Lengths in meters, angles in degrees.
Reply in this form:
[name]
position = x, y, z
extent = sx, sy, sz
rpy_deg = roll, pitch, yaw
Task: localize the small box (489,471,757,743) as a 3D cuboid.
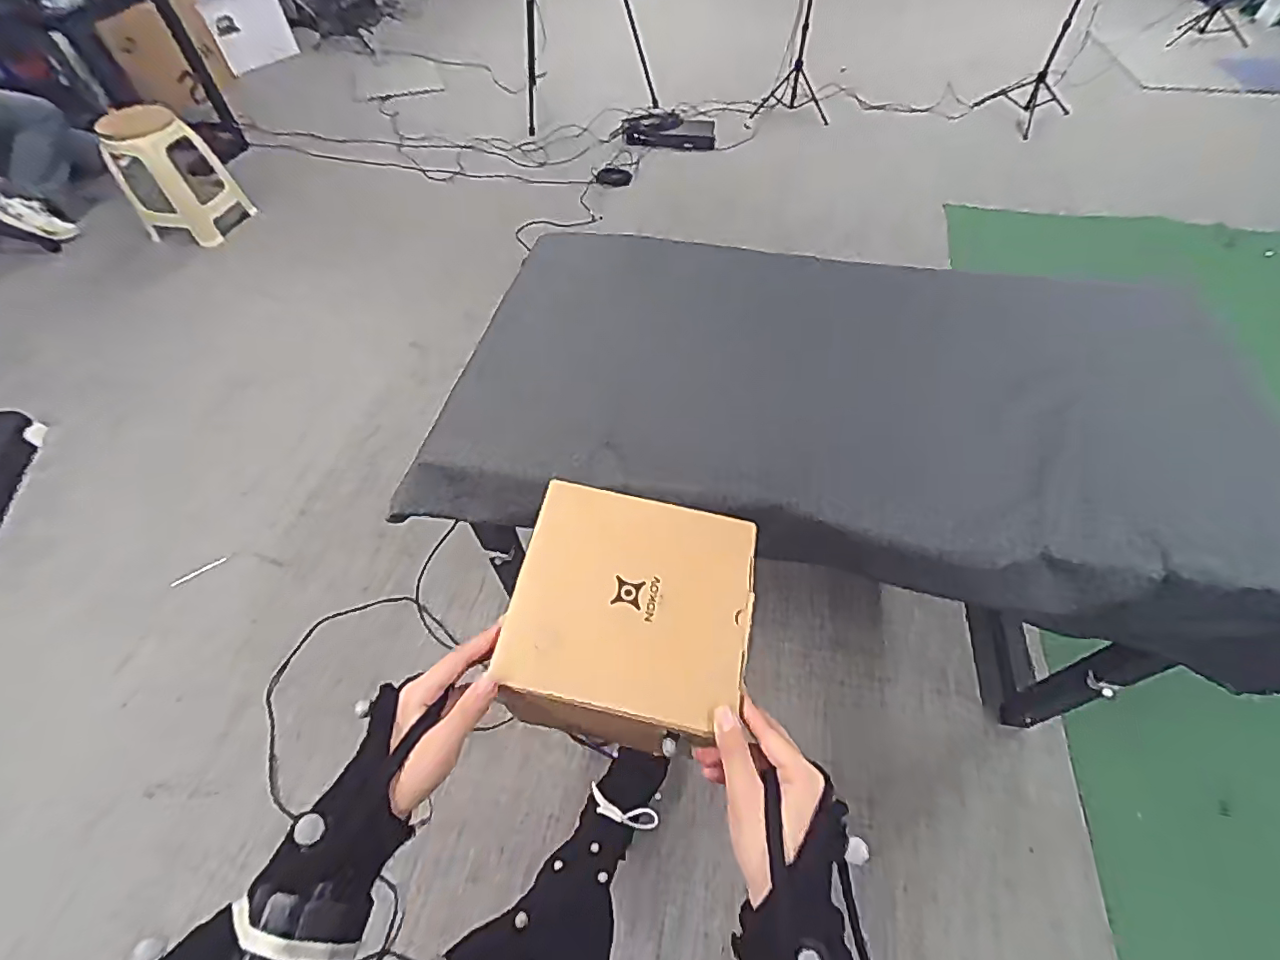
[small box]
position = -0.011, 0.119, 0.473
extent = 0.179, 0.176, 0.168
rpy_deg = 13, 58, 1
